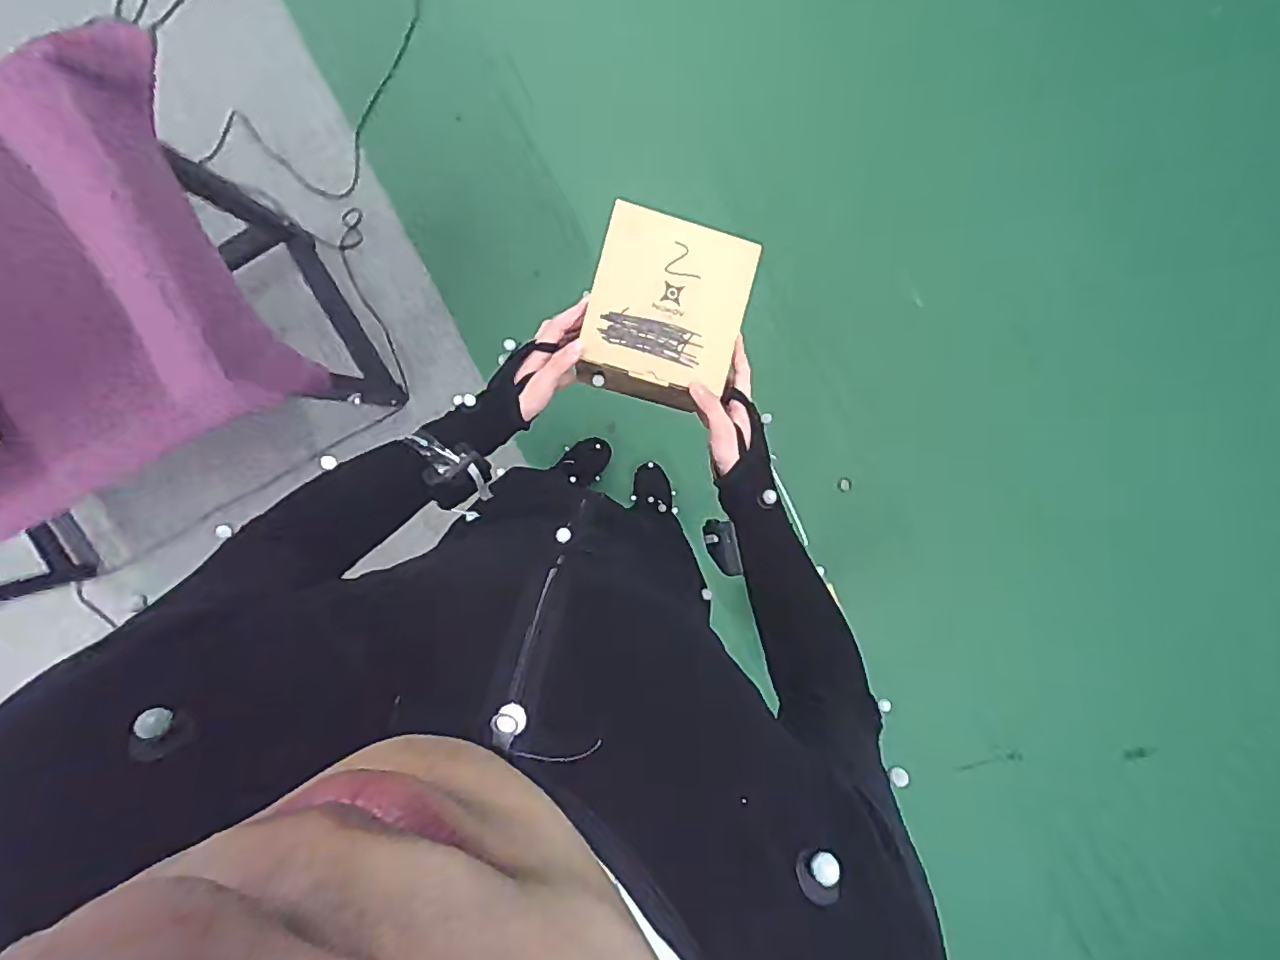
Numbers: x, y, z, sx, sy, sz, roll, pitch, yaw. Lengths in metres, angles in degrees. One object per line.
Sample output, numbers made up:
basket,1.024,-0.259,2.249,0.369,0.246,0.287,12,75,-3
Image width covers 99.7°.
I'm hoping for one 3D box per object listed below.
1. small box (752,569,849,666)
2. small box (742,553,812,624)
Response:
small box,0.412,0.350,1.412,0.179,0.176,0.168,-22,95,3
small box,0.416,0.330,1.576,0.179,0.176,0.168,-24,95,3
